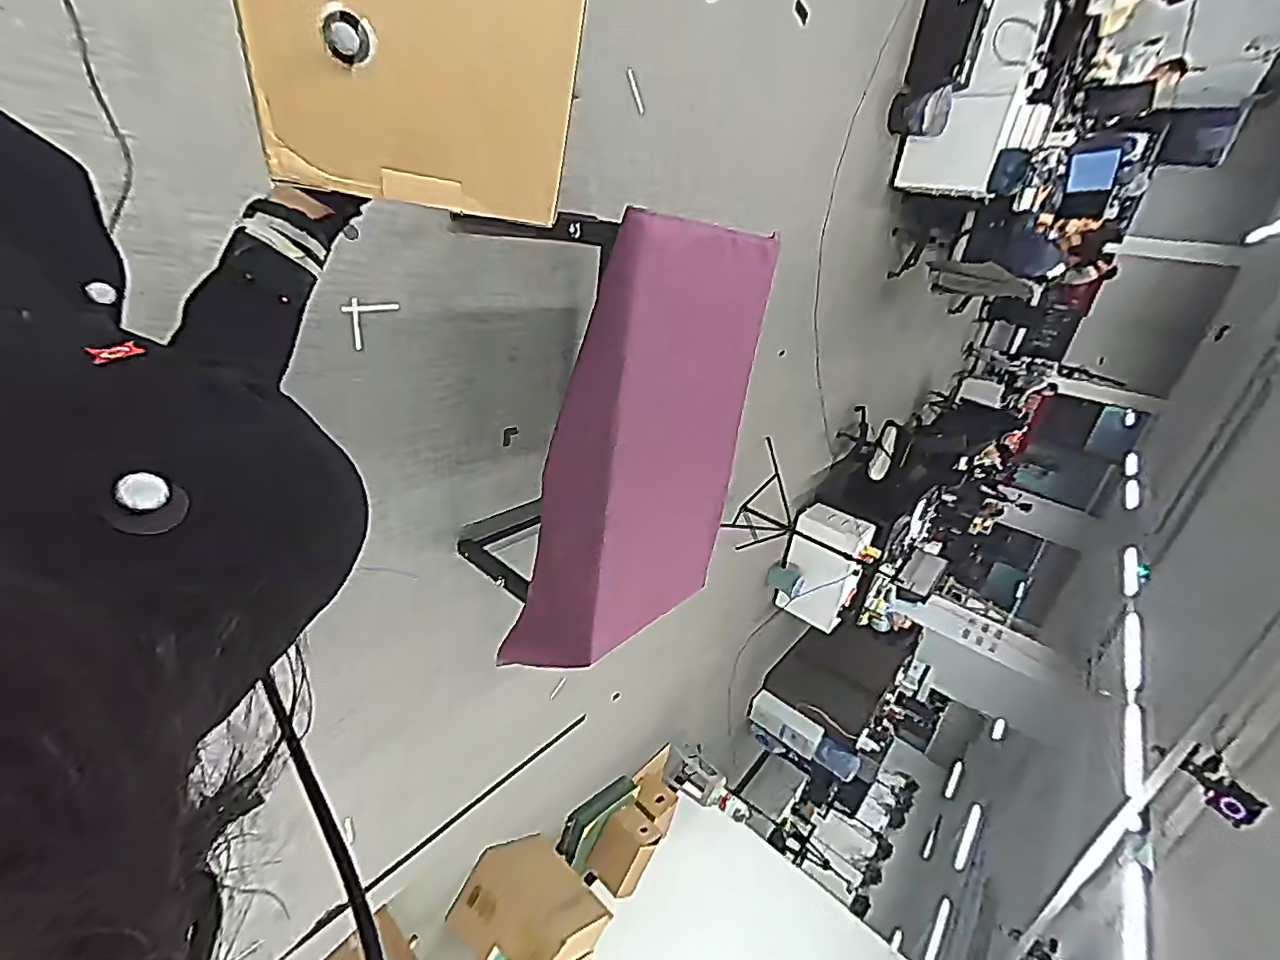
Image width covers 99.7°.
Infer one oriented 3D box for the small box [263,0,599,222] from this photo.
[{"bbox_3d":[-0.127,-0.288,0.335,0.168,0.179,0.176,0,134,-23],"label":"small box"}]
